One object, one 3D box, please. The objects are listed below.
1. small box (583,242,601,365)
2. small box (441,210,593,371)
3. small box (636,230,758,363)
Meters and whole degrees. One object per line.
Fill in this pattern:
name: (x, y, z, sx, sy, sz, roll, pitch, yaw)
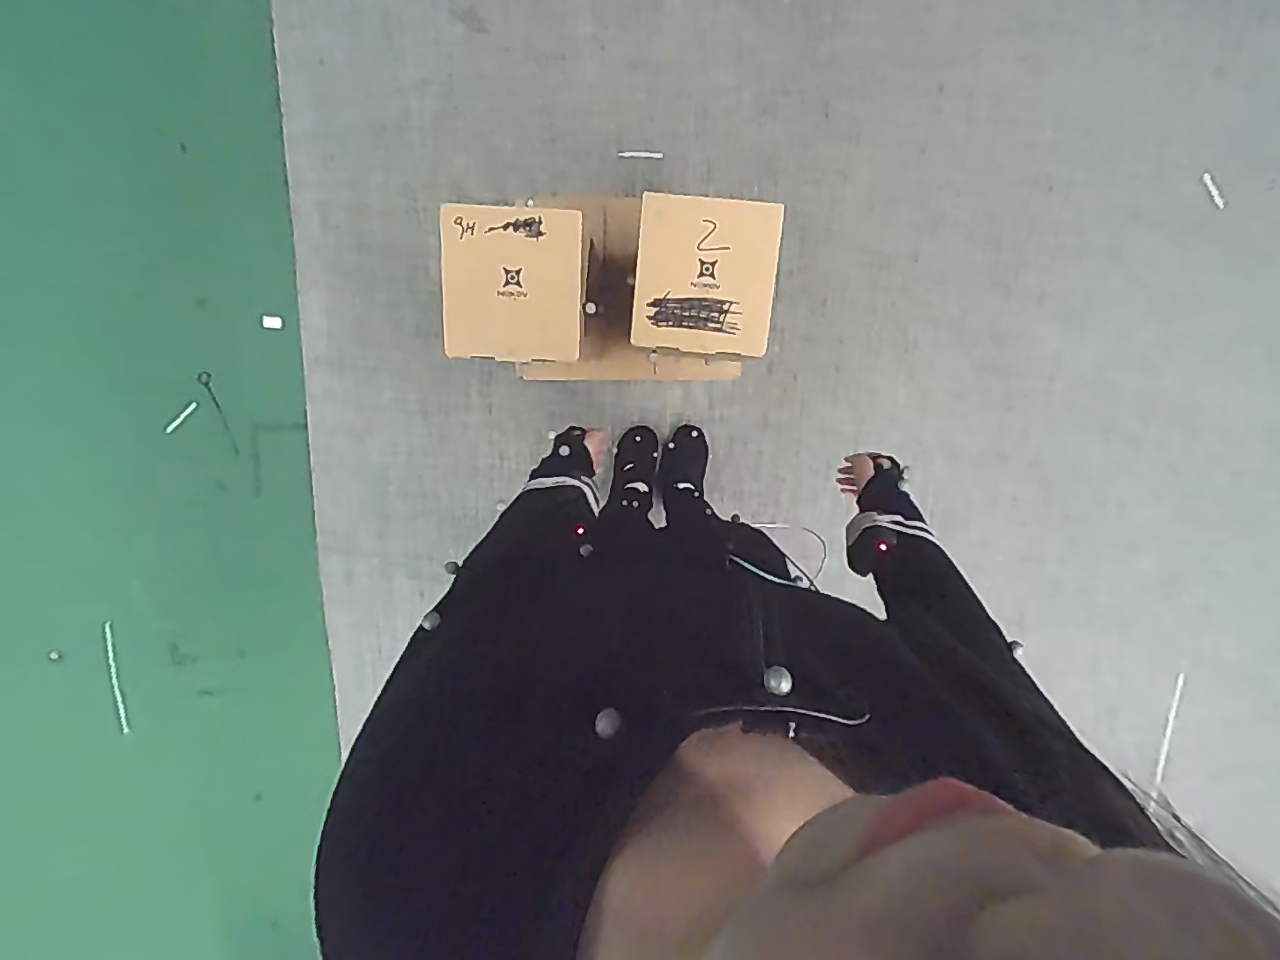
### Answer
small box: (-0.152, -0.280, 0.880, 0.168, 0.176, 0.179, 2, 103, -1)
small box: (-0.153, -0.241, 0.720, 0.168, 0.176, 0.179, 3, 103, -1)
small box: (0.085, -0.285, 0.874, 0.168, 0.176, 0.179, 5, 101, 0)
